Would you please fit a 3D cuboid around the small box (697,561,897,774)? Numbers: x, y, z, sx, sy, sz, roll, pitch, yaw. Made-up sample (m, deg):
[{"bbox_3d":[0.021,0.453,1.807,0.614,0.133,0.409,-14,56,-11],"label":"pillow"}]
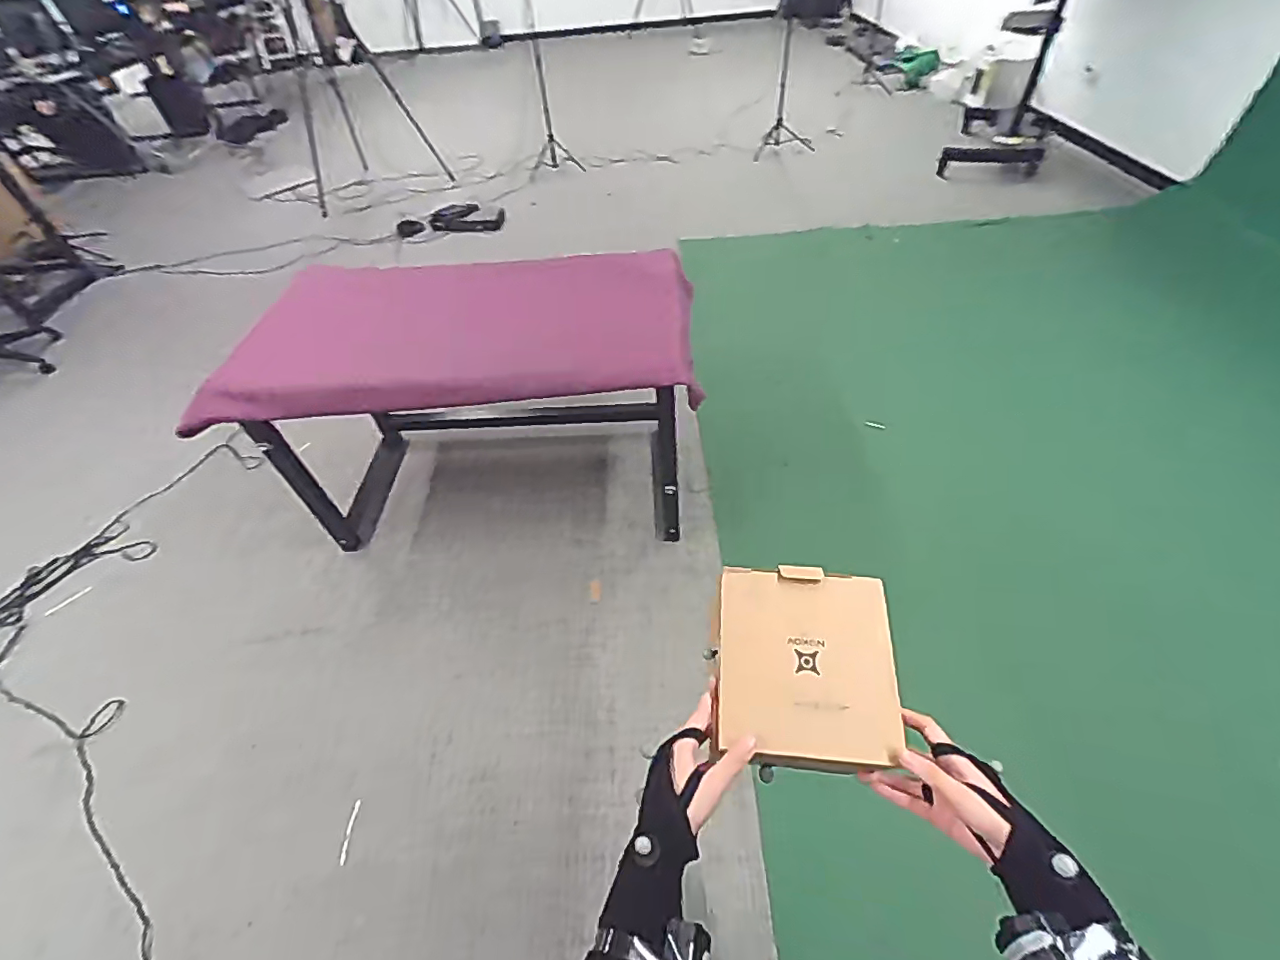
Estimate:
[{"bbox_3d":[0.151,0.206,0.581,0.168,0.176,0.179,4,60,4],"label":"small box"}]
